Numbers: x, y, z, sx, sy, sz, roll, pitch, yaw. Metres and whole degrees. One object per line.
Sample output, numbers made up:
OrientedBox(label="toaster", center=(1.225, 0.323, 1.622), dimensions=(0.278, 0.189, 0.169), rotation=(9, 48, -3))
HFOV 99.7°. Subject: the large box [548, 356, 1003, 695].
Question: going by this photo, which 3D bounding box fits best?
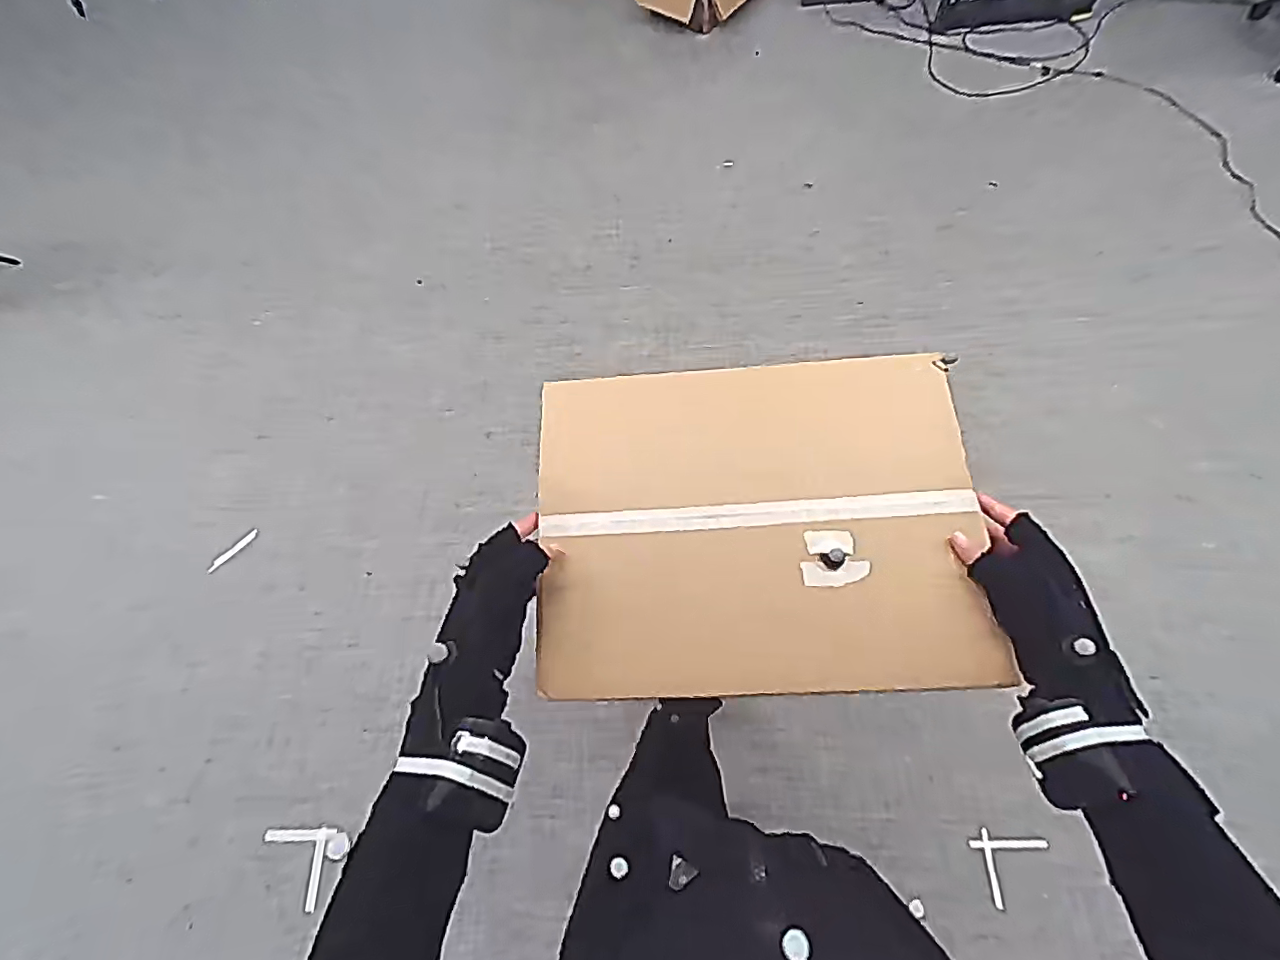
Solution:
OrientedBox(label="large box", center=(0.117, 0.079, 0.660), dimensions=(0.408, 0.320, 0.320), rotation=(-4, 72, 4))
